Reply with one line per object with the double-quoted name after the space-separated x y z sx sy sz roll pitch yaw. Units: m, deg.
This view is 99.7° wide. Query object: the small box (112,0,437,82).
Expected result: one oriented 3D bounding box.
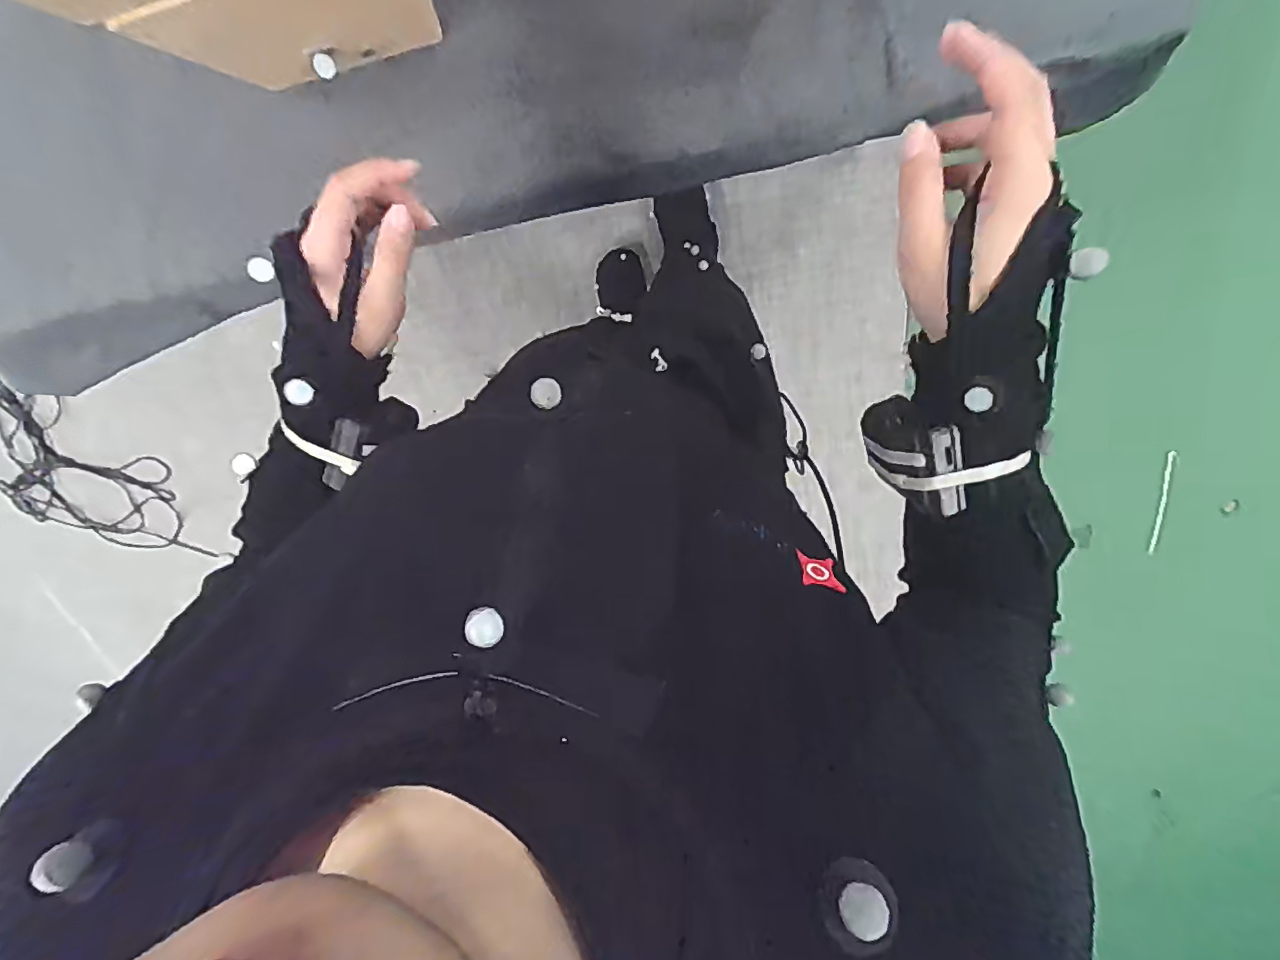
-0.267 -0.409 0.366 0.168 0.176 0.179 -11 115 6 "small box"
